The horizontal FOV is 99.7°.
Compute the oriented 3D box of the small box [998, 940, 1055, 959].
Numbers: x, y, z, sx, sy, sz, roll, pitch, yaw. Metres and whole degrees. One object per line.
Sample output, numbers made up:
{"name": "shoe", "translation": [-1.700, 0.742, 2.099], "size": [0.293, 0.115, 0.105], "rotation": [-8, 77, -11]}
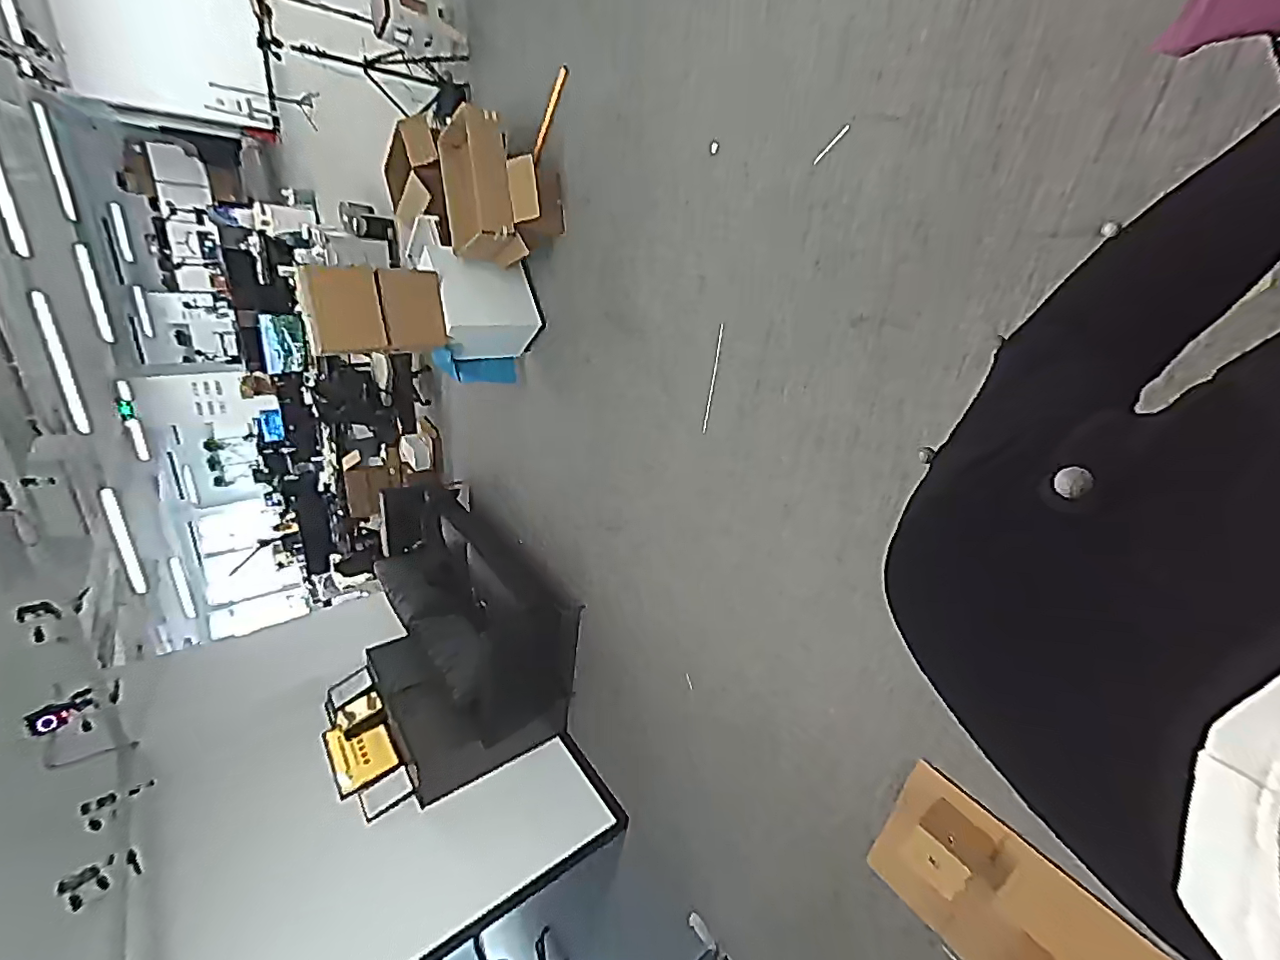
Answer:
{"name": "small box", "translation": [1.161, 1.511, 1.591], "size": [0.179, 0.176, 0.168], "rotation": [43, 132, 37]}

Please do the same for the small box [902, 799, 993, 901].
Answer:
{"name": "small box", "translation": [0.983, 1.173, 1.726], "size": [0.179, 0.176, 0.168], "rotation": [35, 126, 41]}
